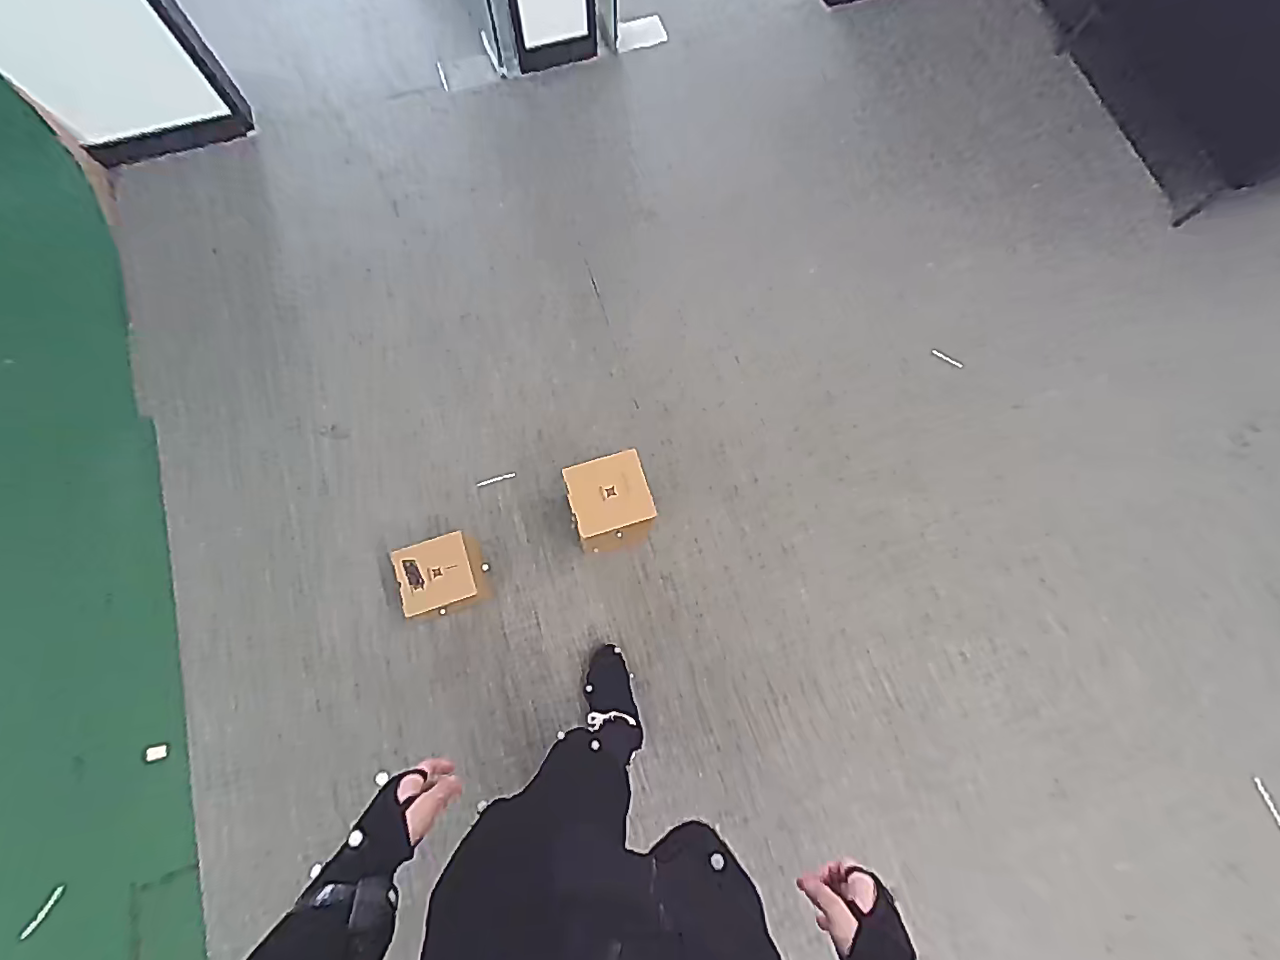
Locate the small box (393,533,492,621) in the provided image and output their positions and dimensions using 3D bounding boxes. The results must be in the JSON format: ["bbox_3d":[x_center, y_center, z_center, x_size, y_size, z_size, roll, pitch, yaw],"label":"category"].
[{"bbox_3d":[-0.495,0.252,1.370,0.179,0.176,0.168,-18,75,-8],"label":"small box"}]

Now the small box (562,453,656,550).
[{"bbox_3d":[-0.071,0.058,1.270,0.179,0.176,0.168,-16,75,-7],"label":"small box"}]
